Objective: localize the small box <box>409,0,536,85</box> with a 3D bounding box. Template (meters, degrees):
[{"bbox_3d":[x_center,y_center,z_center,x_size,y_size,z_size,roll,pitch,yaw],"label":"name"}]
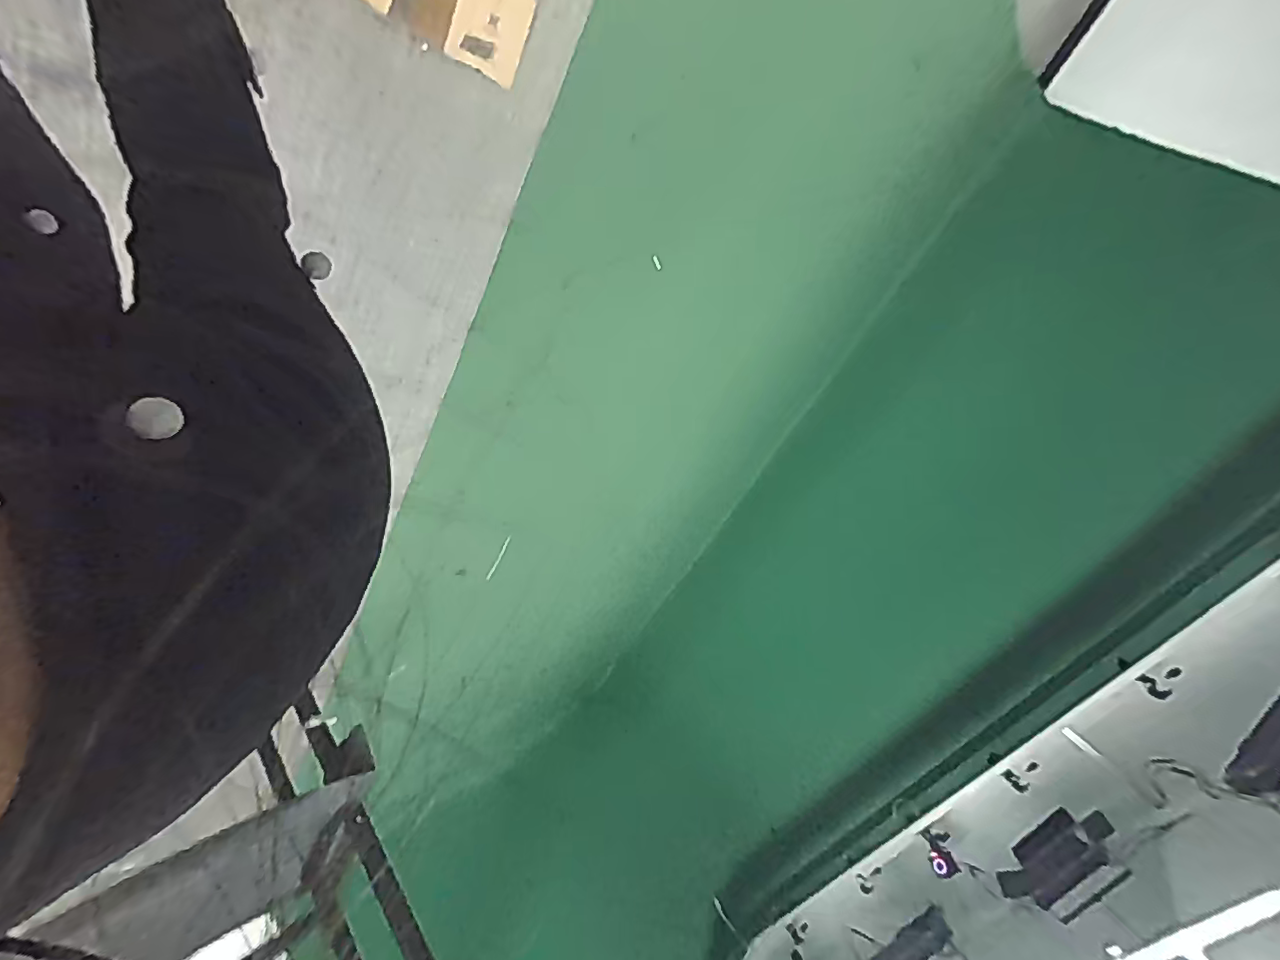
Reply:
[{"bbox_3d":[-0.352,-0.976,1.119,0.168,0.176,0.179,-9,137,-52],"label":"small box"}]
